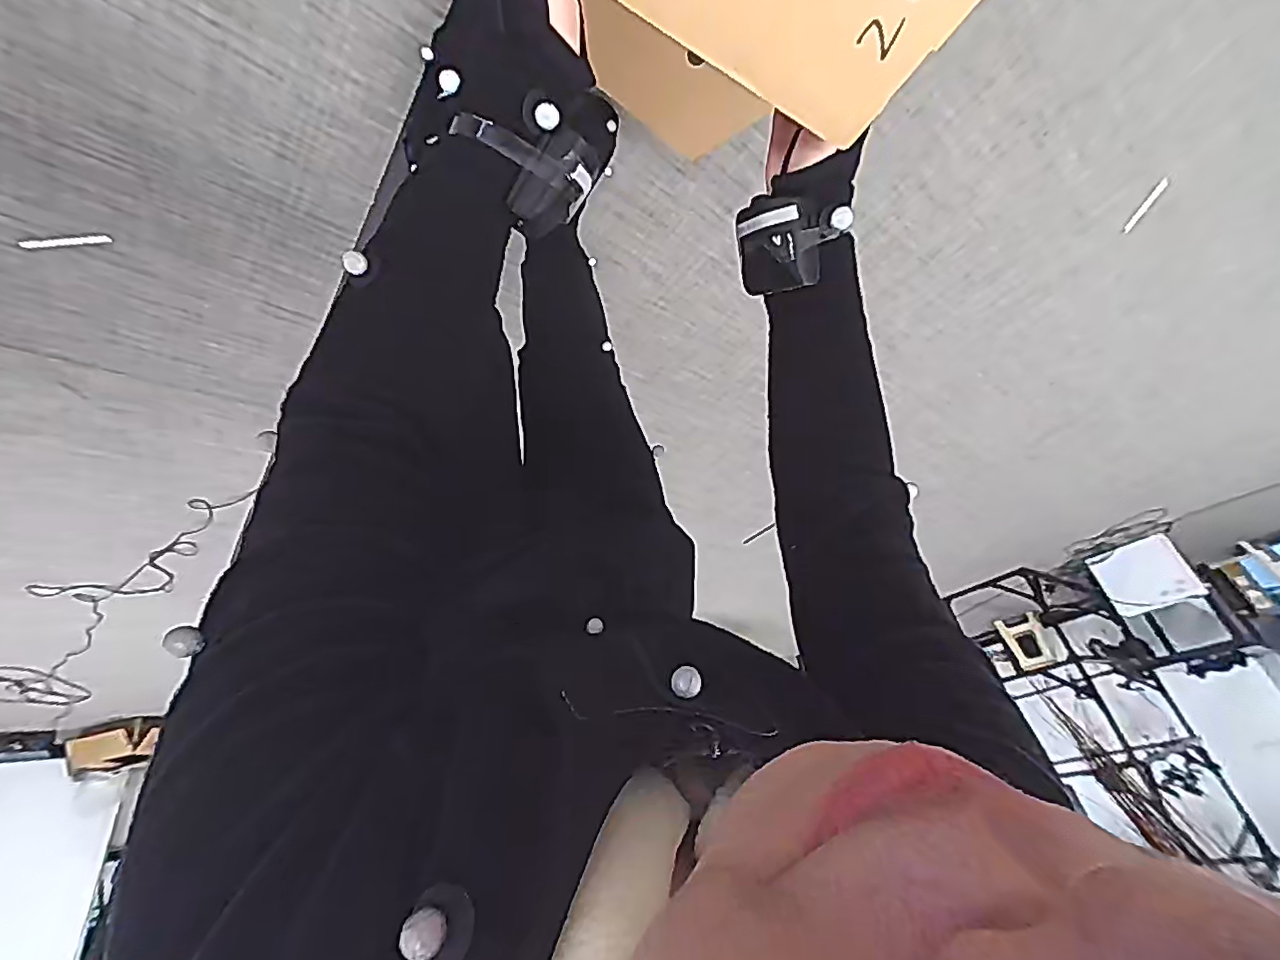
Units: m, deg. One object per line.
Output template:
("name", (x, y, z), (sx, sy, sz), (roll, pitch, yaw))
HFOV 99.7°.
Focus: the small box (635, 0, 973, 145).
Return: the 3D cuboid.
("small box", (0.080, -0.320, 0.262), (0.179, 0.176, 0.168), (7, 149, -33))
